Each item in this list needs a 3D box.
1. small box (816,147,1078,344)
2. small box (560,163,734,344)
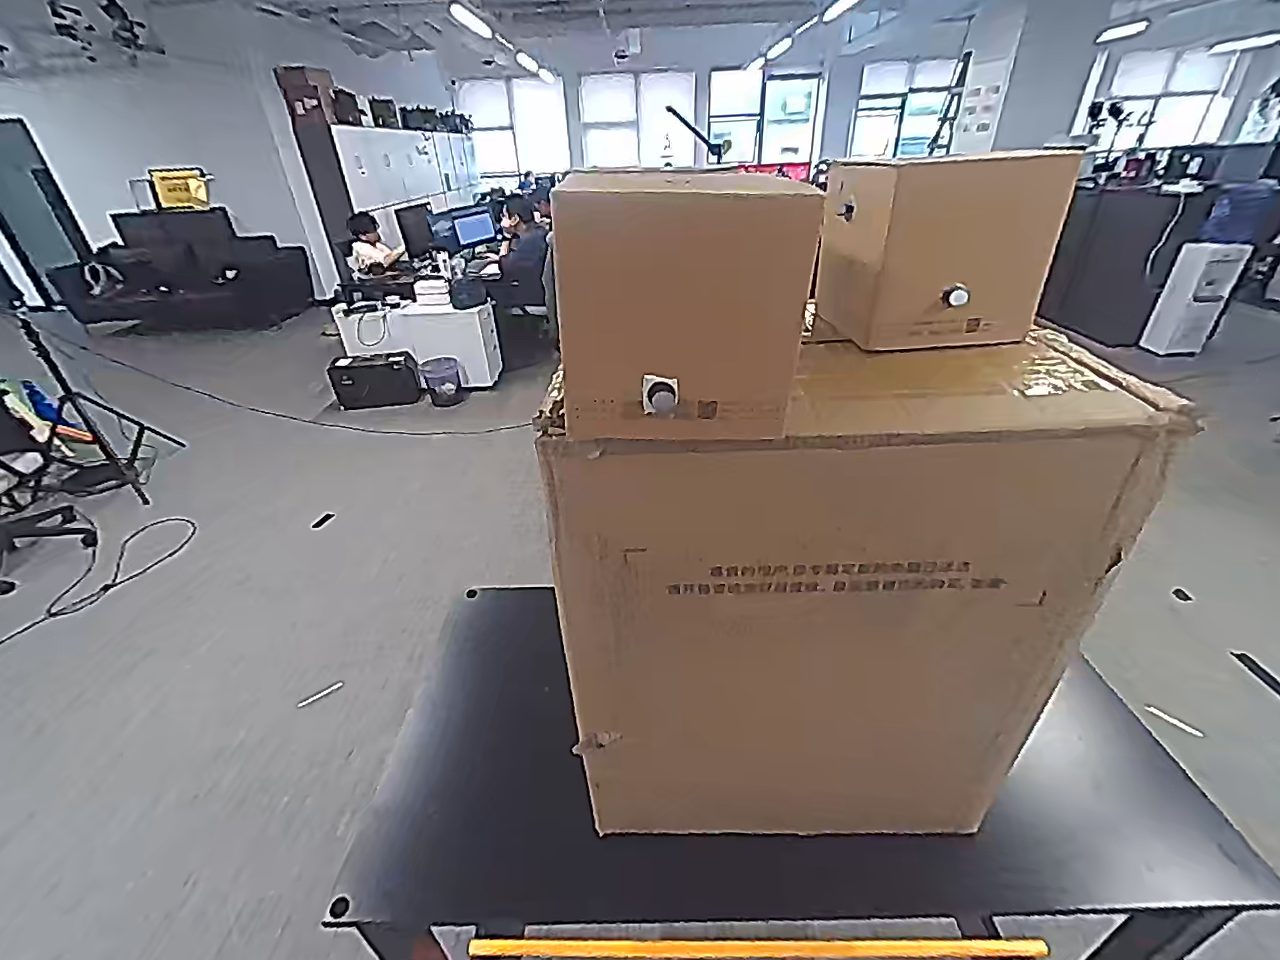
[{"bbox_3d":[0.299,-0.251,0.578,0.168,0.176,0.179,-4,31,0],"label":"small box"},{"bbox_3d":[0.006,-0.258,0.611,0.168,0.176,0.179,-2,30,-1],"label":"small box"}]
